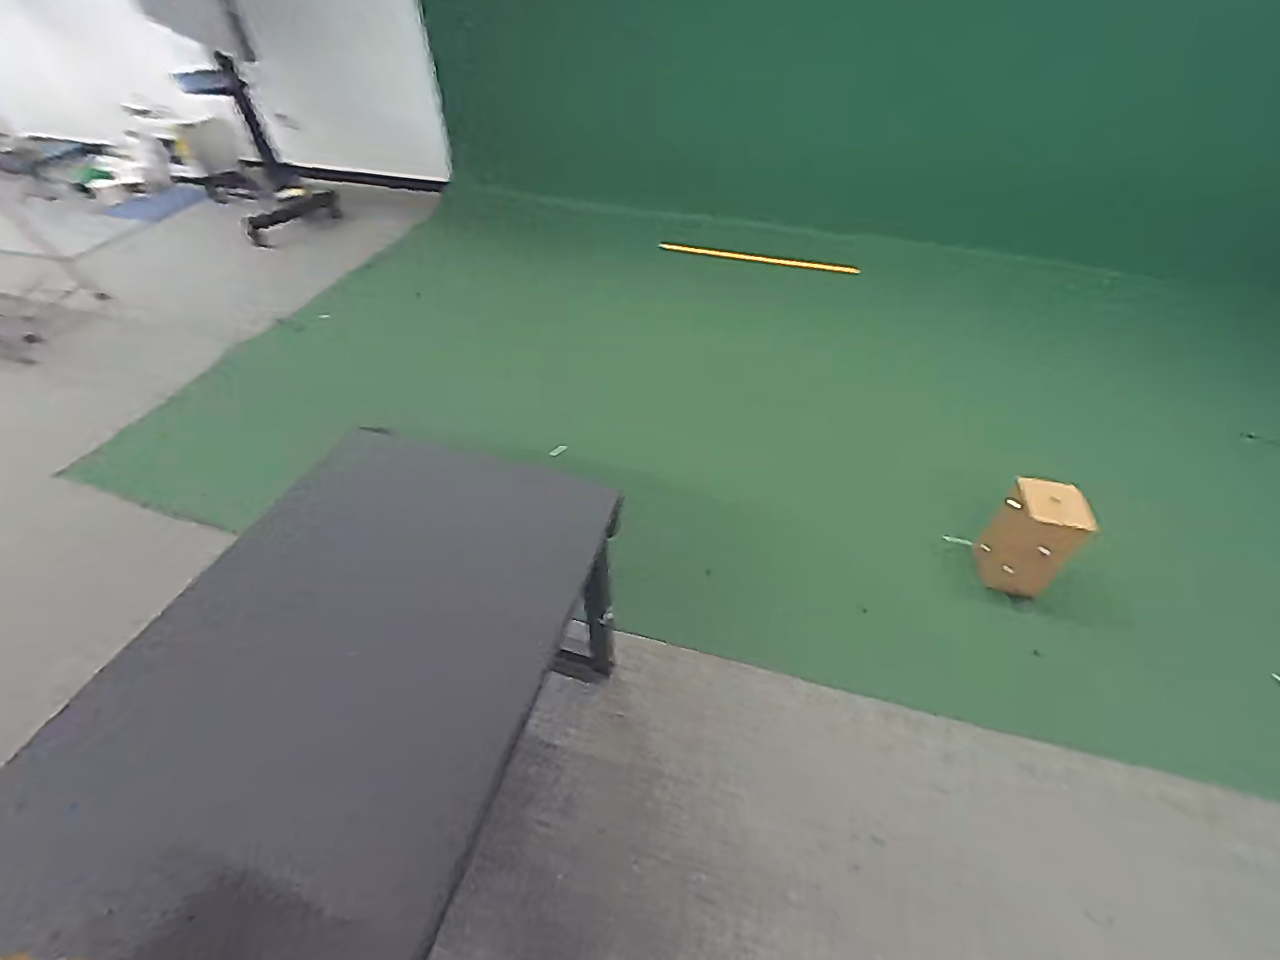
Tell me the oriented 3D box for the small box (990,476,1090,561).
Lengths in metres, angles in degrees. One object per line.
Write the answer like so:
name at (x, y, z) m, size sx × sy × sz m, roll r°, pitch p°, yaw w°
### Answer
small box at (1.201, 0.116, 1.642) m, size 0.168 × 0.176 × 0.179 m, roll 9°, pitch 46°, yaw 9°
